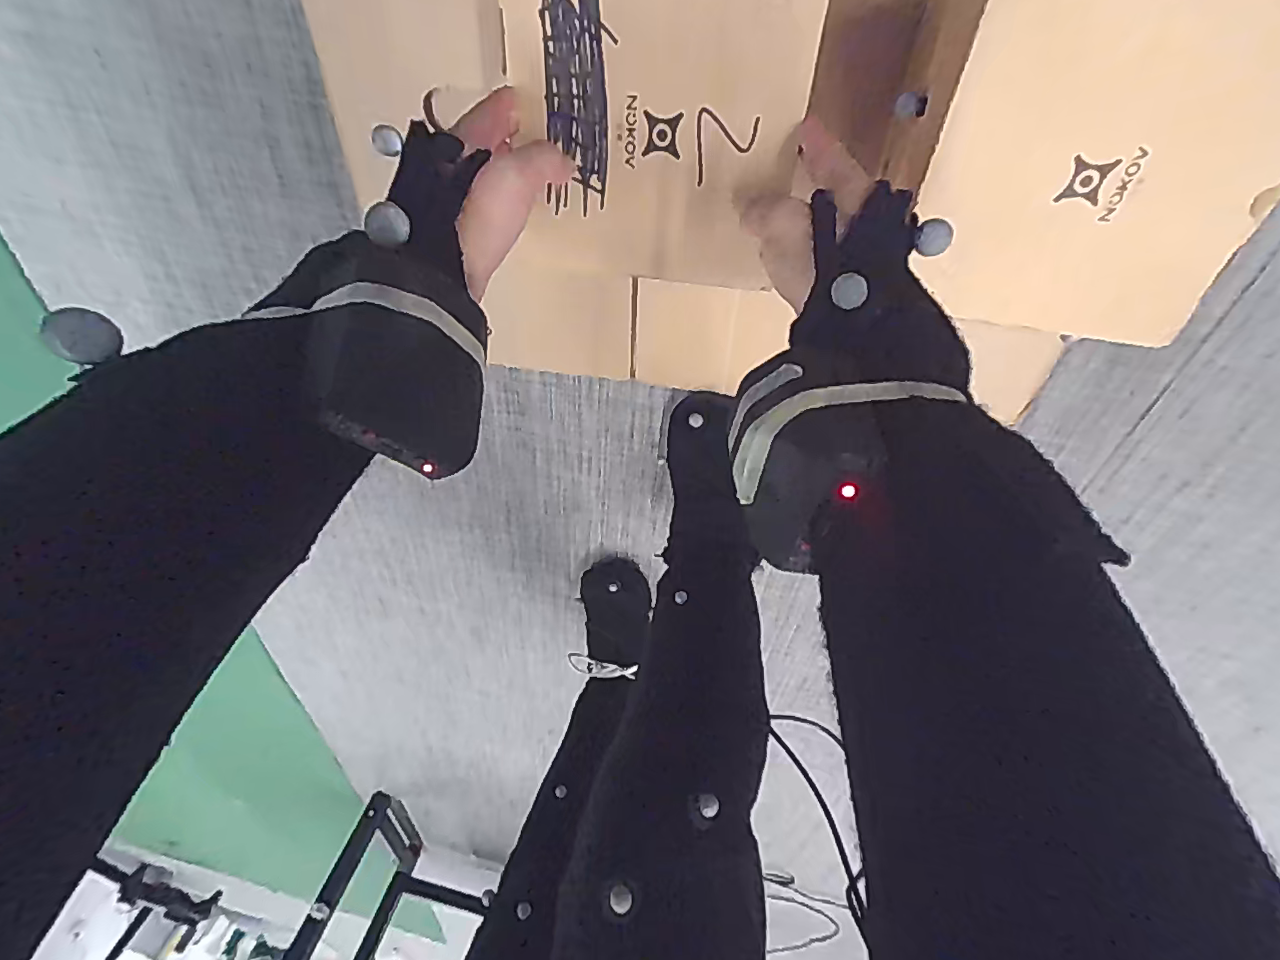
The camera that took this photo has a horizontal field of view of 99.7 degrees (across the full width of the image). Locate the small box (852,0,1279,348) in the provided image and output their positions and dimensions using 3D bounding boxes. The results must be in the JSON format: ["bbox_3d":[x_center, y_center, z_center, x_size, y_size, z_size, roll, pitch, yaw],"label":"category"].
[{"bbox_3d":[0.254,-0.208,0.356,0.179,0.176,0.168,10,129,7],"label":"small box"}]
